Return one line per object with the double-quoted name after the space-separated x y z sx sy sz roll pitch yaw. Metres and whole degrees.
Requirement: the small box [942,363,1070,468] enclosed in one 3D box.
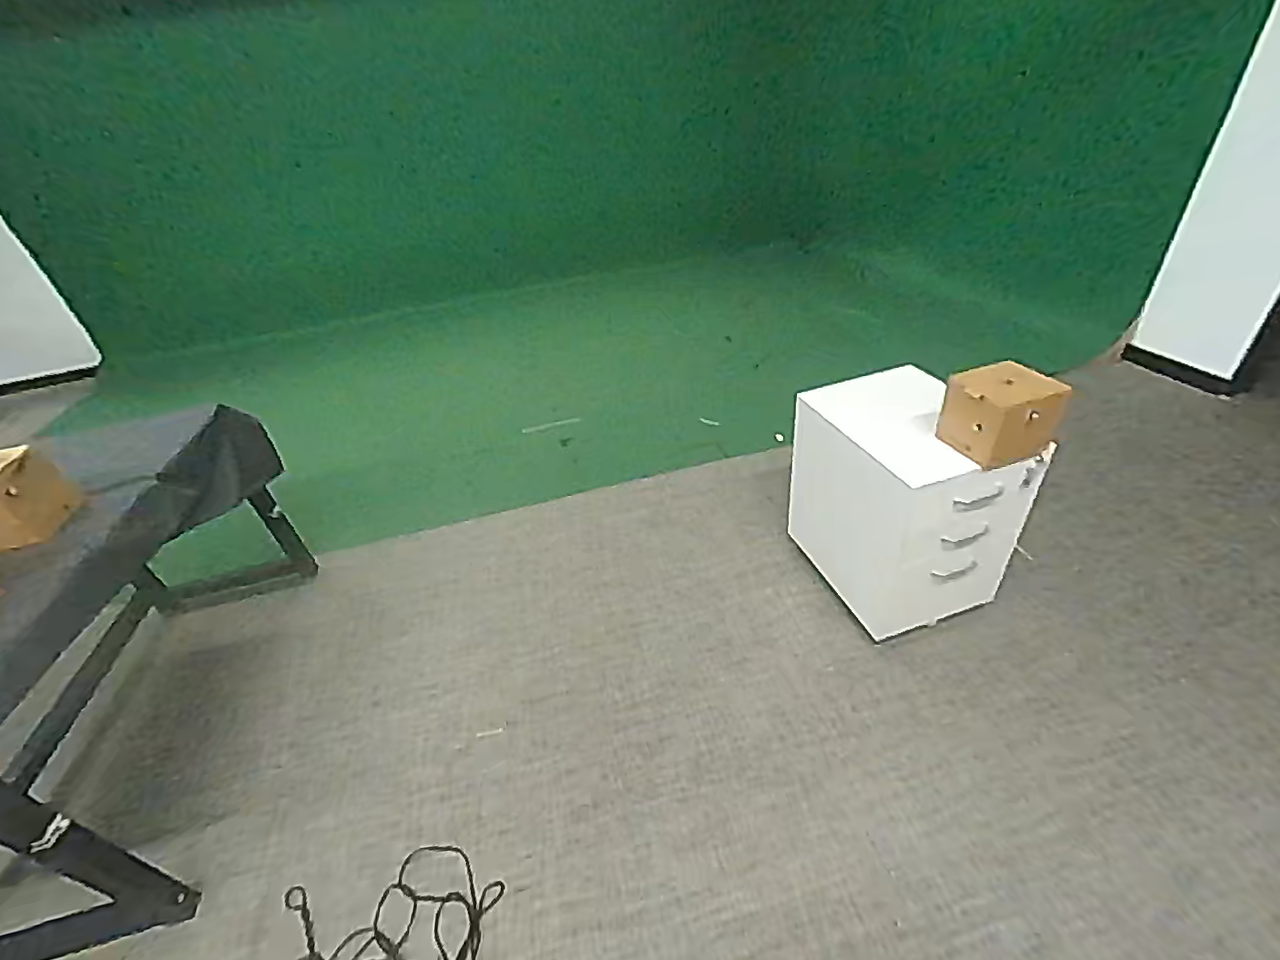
0.838 -0.149 1.262 0.179 0.176 0.168 -15 37 -10 "small box"
